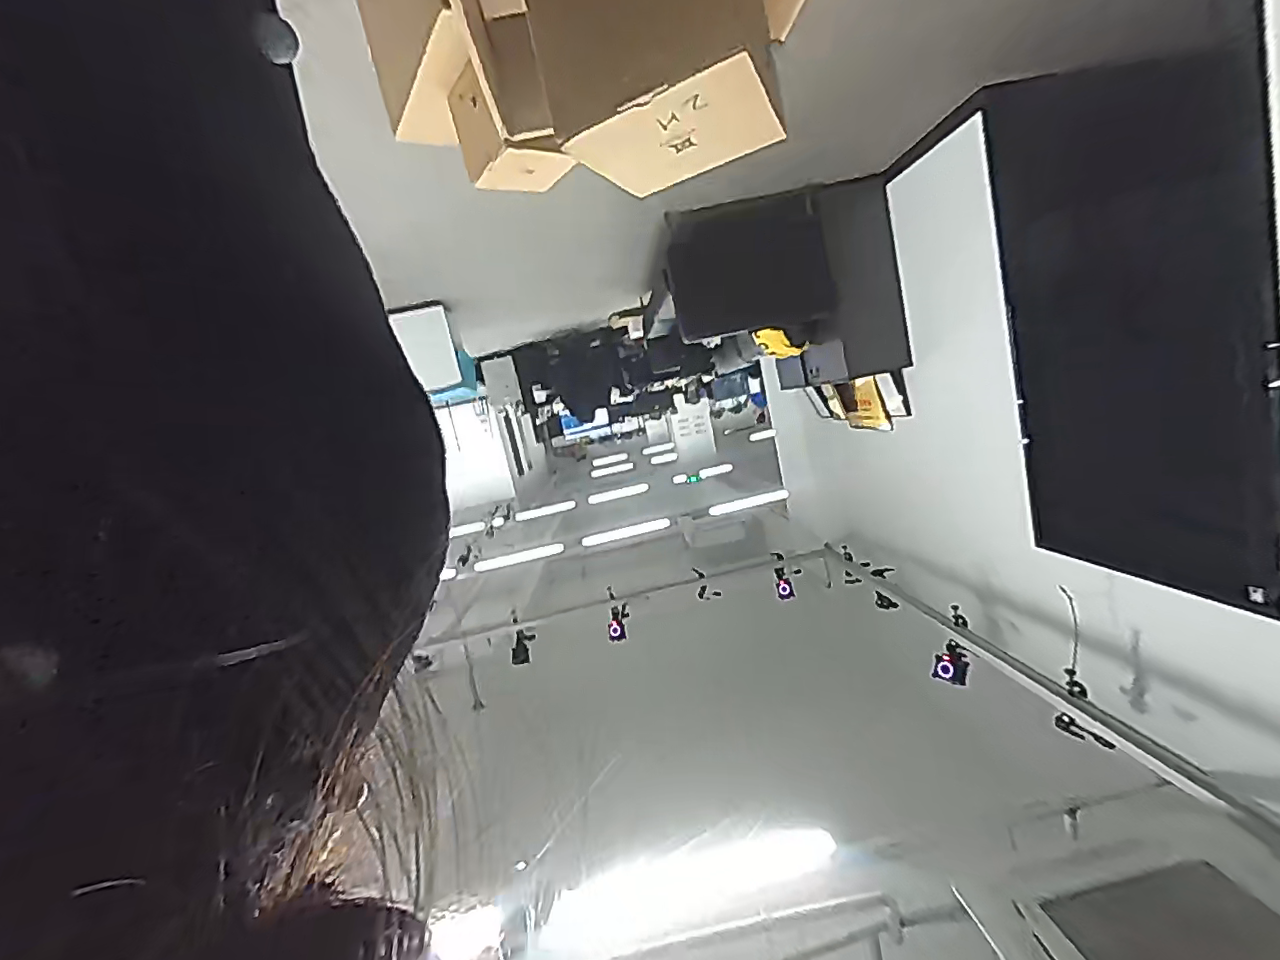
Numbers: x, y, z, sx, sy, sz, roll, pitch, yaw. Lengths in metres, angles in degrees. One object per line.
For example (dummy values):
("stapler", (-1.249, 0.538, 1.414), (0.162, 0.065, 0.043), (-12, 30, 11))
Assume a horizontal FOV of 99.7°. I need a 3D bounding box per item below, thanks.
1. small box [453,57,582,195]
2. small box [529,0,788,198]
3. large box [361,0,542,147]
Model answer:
("small box", (-0.239, -0.684, 1.060), (0.179, 0.176, 0.168), (-20, -169, -37))
("small box", (0.022, -0.381, 0.473), (0.168, 0.176, 0.179), (-10, -173, 26))
("large box", (-0.324, -0.917, 1.058), (0.320, 0.320, 0.408), (-17, -170, -33))
